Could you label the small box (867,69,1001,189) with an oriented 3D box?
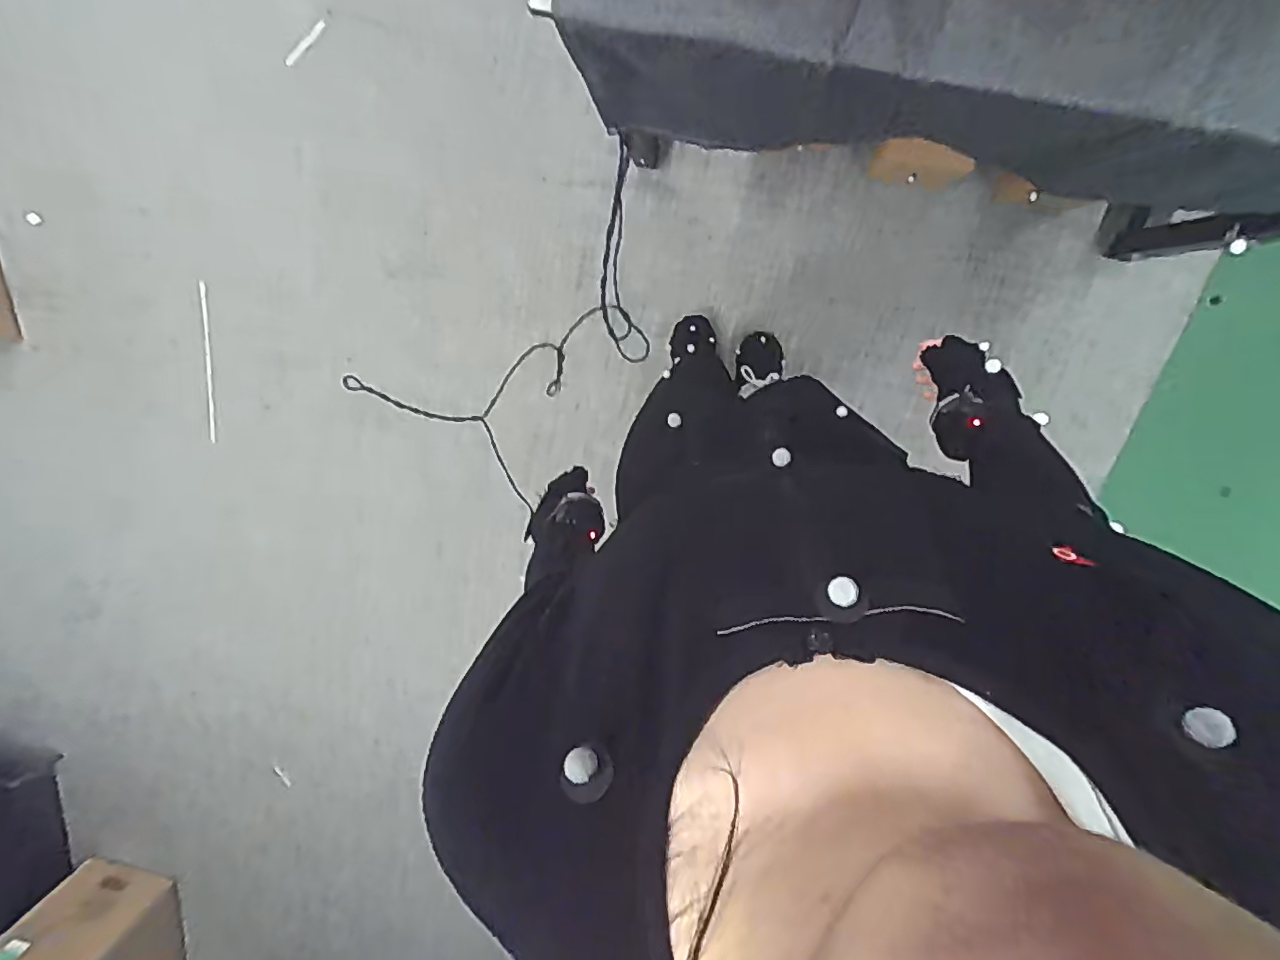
[{"bbox_3d":[0.612,-0.734,1.151,0.179,0.176,0.168,12,108,5],"label":"small box"}]
